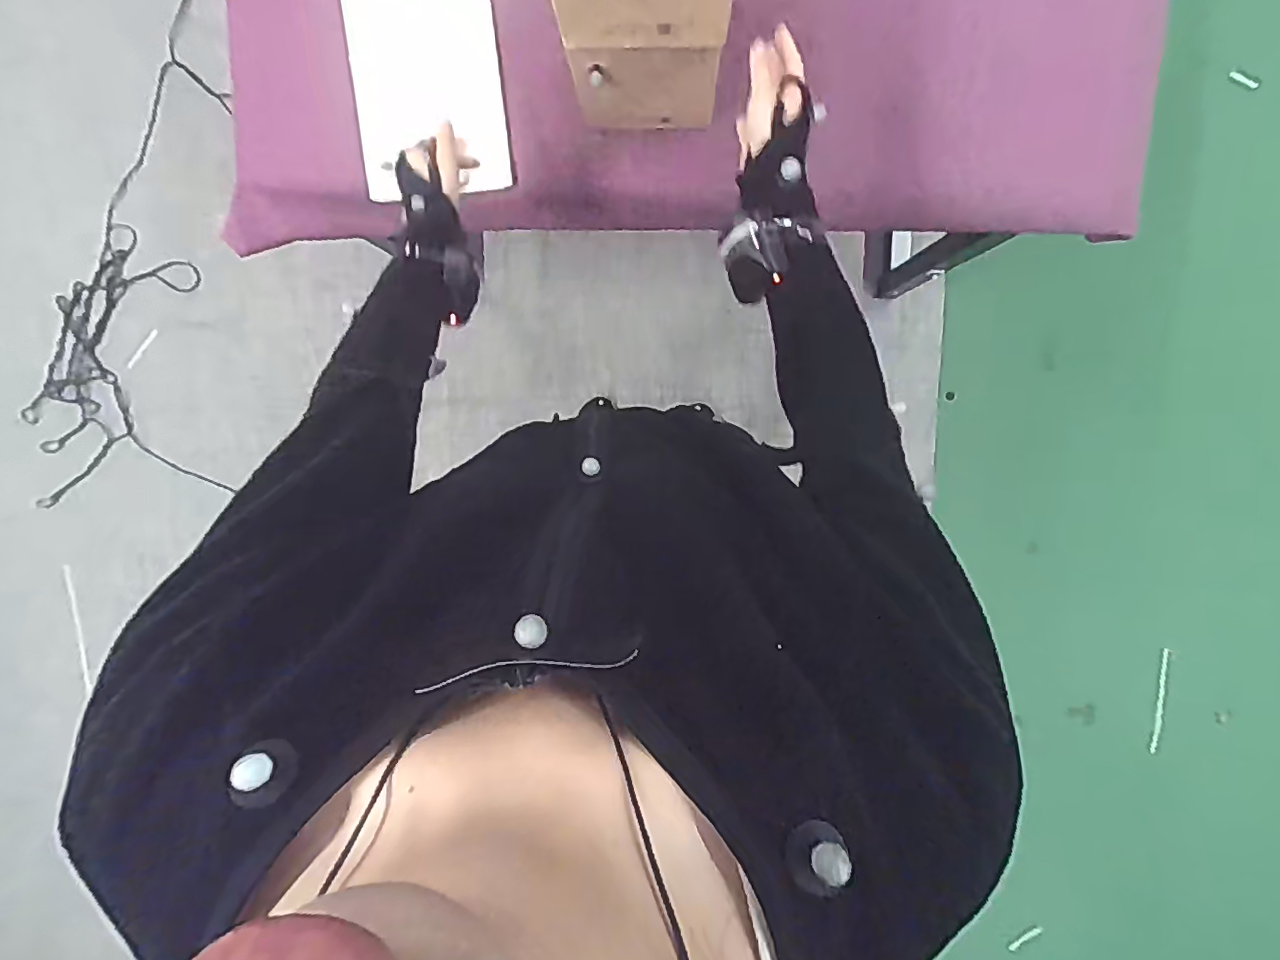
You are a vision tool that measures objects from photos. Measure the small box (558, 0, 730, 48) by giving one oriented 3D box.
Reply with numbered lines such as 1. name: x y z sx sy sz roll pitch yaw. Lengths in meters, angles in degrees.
1. small box: 0.004 -0.520 0.470 0.168 0.176 0.179 2 95 2
